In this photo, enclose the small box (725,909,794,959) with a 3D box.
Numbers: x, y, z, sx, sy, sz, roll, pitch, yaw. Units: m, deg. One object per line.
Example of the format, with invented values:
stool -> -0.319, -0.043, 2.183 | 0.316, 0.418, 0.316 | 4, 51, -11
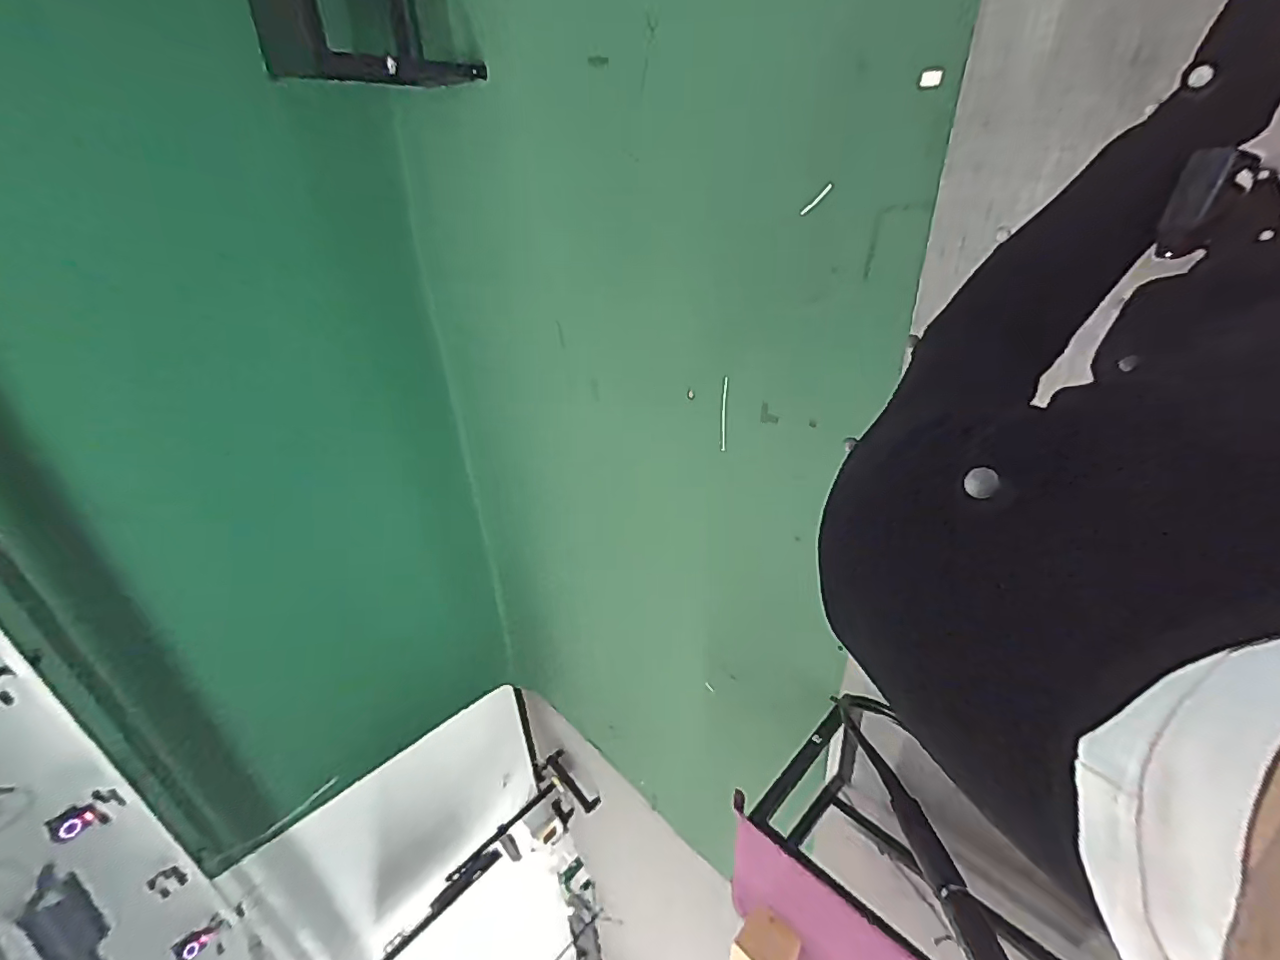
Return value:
small box -> 0.403, 1.624, 1.835 | 0.168, 0.176, 0.179 | 25, 129, 38
